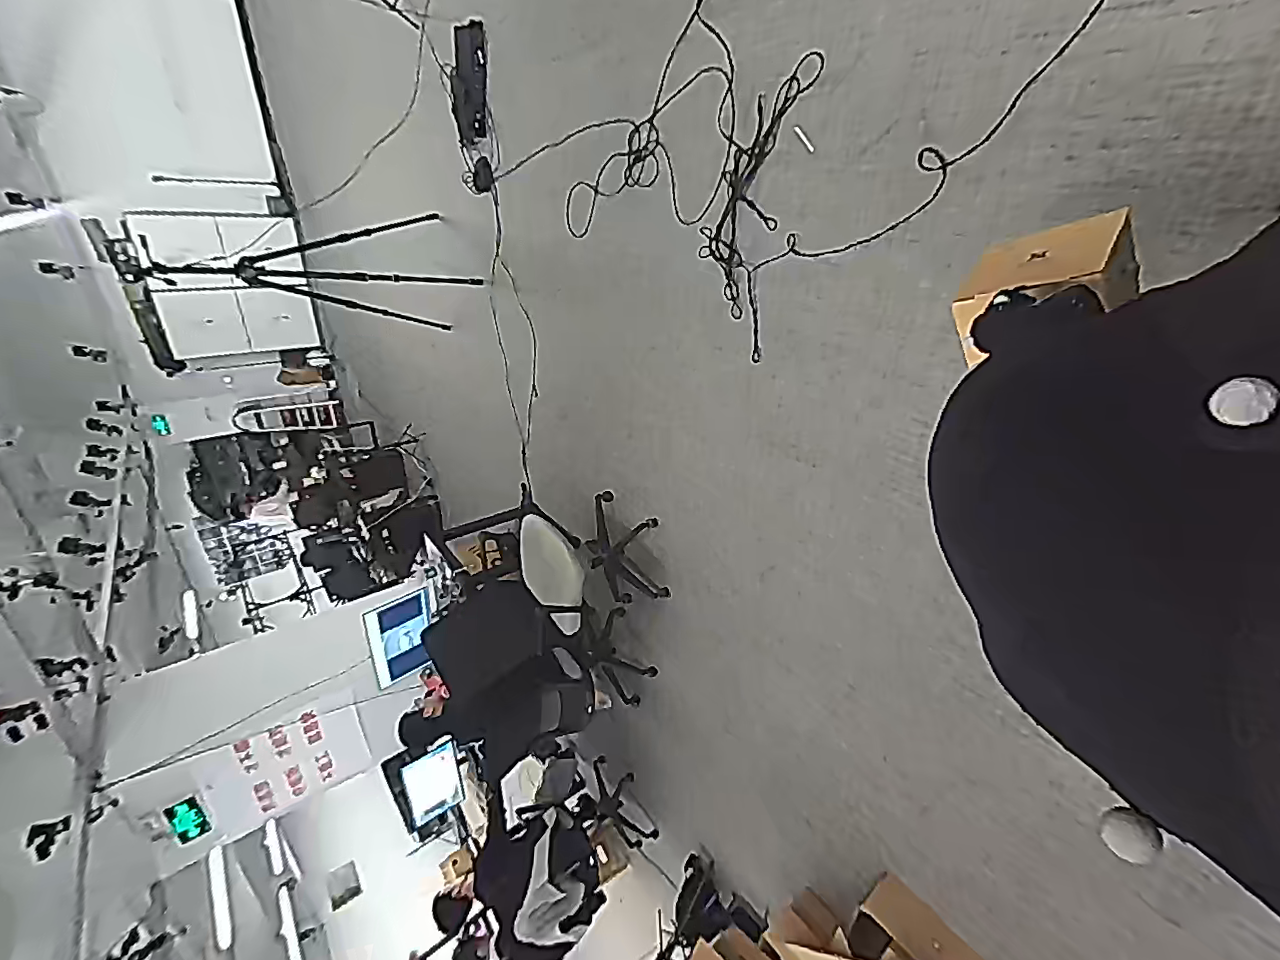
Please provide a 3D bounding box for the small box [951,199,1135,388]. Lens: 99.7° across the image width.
[{"bbox_3d":[0.573,-0.252,0.764,0.168,0.179,0.176,2,135,51],"label":"small box"}]
